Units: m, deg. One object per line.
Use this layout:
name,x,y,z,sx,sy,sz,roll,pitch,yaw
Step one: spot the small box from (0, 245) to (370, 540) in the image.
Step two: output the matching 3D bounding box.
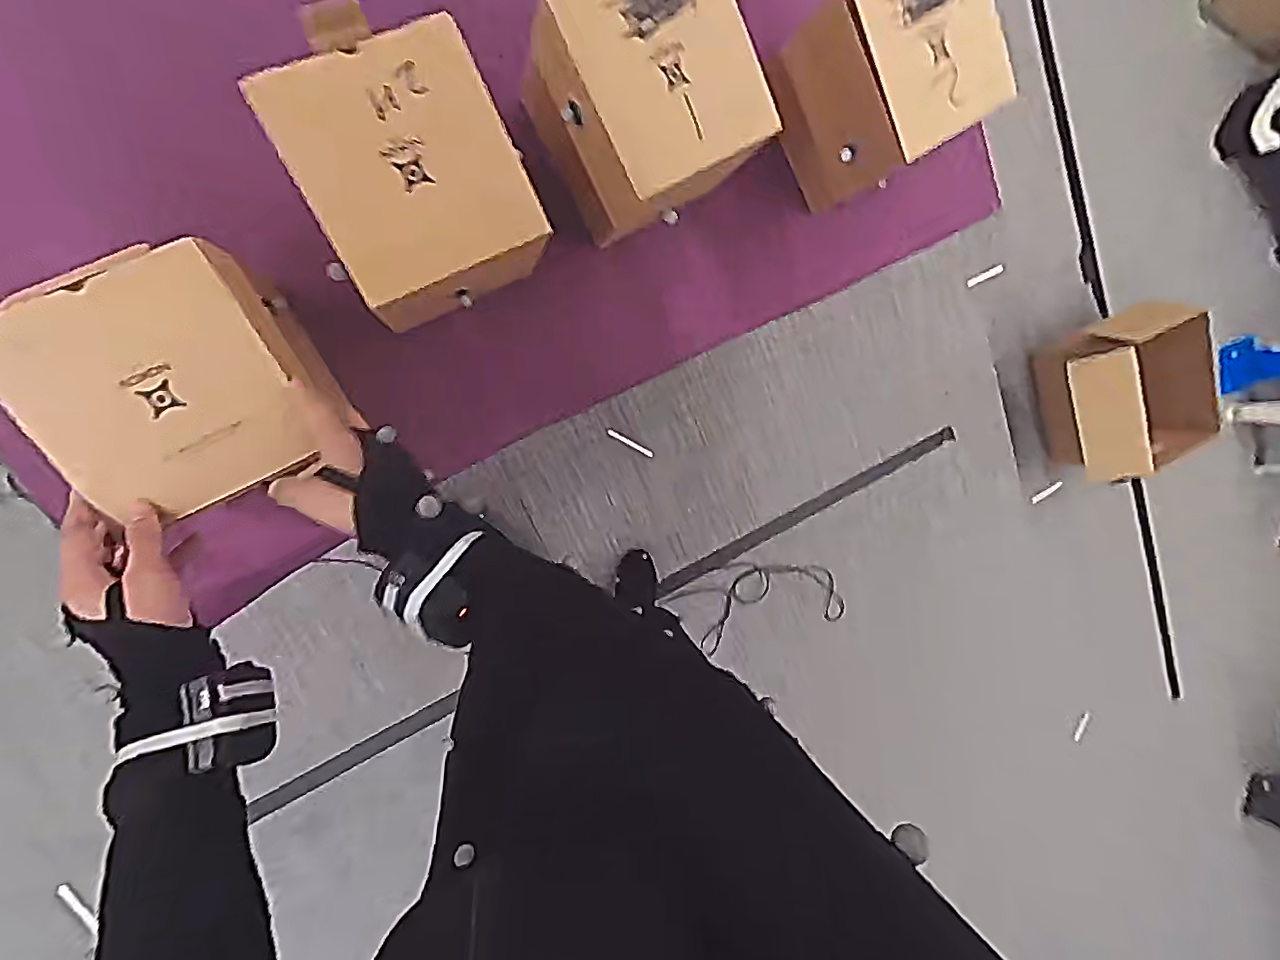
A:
small box,-0.373,-0.075,0.482,0.168,0.176,0.179,-29,105,-11

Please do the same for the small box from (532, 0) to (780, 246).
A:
small box,0.005,-0.375,0.557,0.168,0.176,0.179,-32,106,-11

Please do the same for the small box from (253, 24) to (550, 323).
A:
small box,-0.203,-0.260,0.509,0.168,0.176,0.179,-29,105,-11
